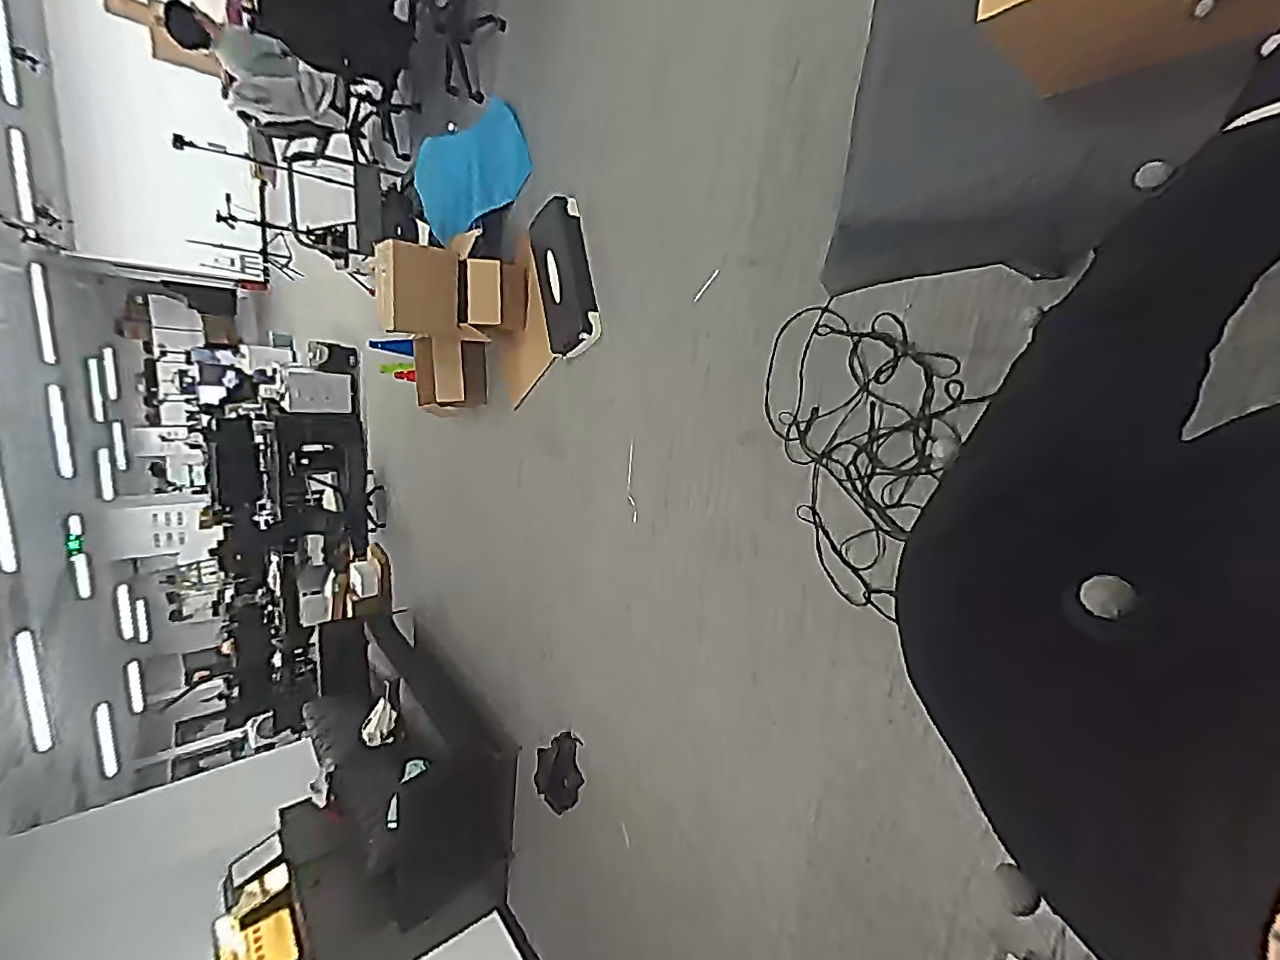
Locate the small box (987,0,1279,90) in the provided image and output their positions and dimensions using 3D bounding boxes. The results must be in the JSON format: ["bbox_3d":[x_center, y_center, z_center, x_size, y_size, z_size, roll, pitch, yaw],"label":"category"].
[{"bbox_3d":[0.402,-0.445,0.412,0.179,0.176,0.168,14,104,49],"label":"small box"}]
